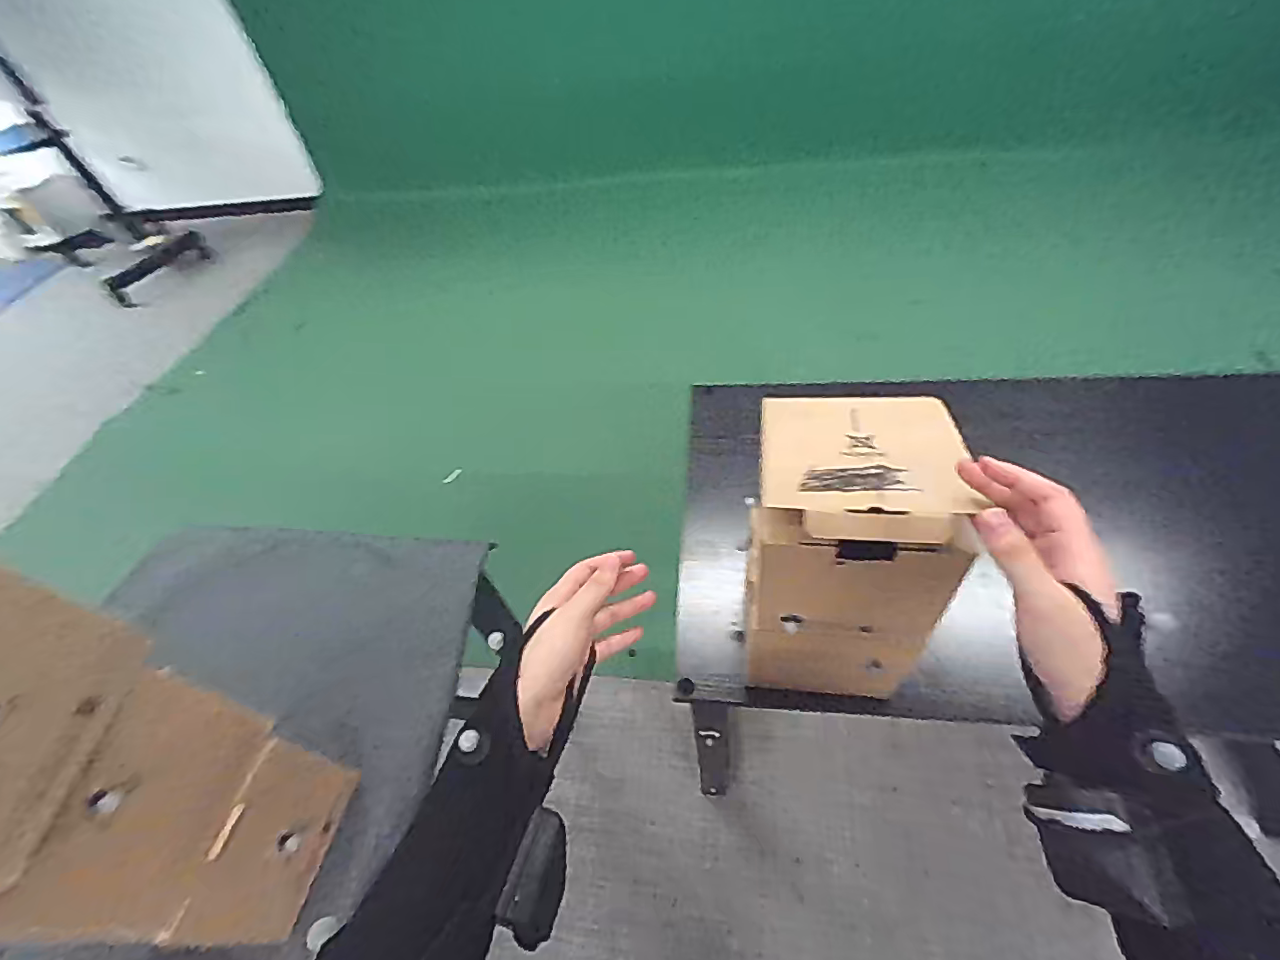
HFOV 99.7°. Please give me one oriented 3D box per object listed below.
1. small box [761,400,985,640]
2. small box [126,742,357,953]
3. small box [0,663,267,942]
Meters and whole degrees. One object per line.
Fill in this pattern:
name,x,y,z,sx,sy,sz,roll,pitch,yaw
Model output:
small box,0.208,0.041,0.534,0.168,0.176,0.179,2,50,12
small box,-0.448,0.376,0.578,0.179,0.176,0.168,3,52,12
small box,-0.470,0.265,0.461,0.168,0.176,0.179,1,52,12
